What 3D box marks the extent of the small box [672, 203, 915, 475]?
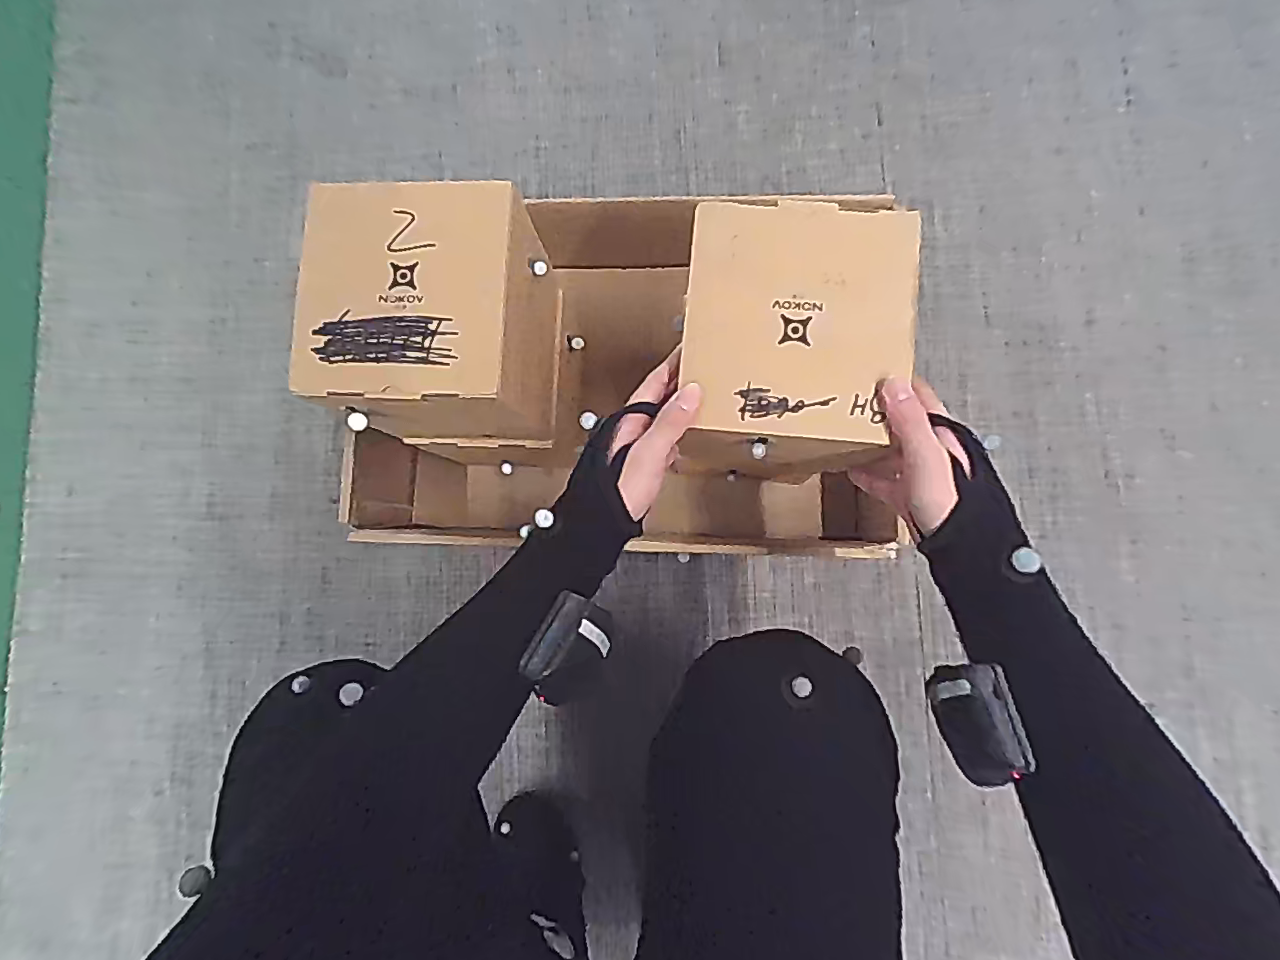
[{"bbox_3d":[0.118,-0.107,0.472,0.168,0.176,0.179,5,84,6],"label":"small box"}]
